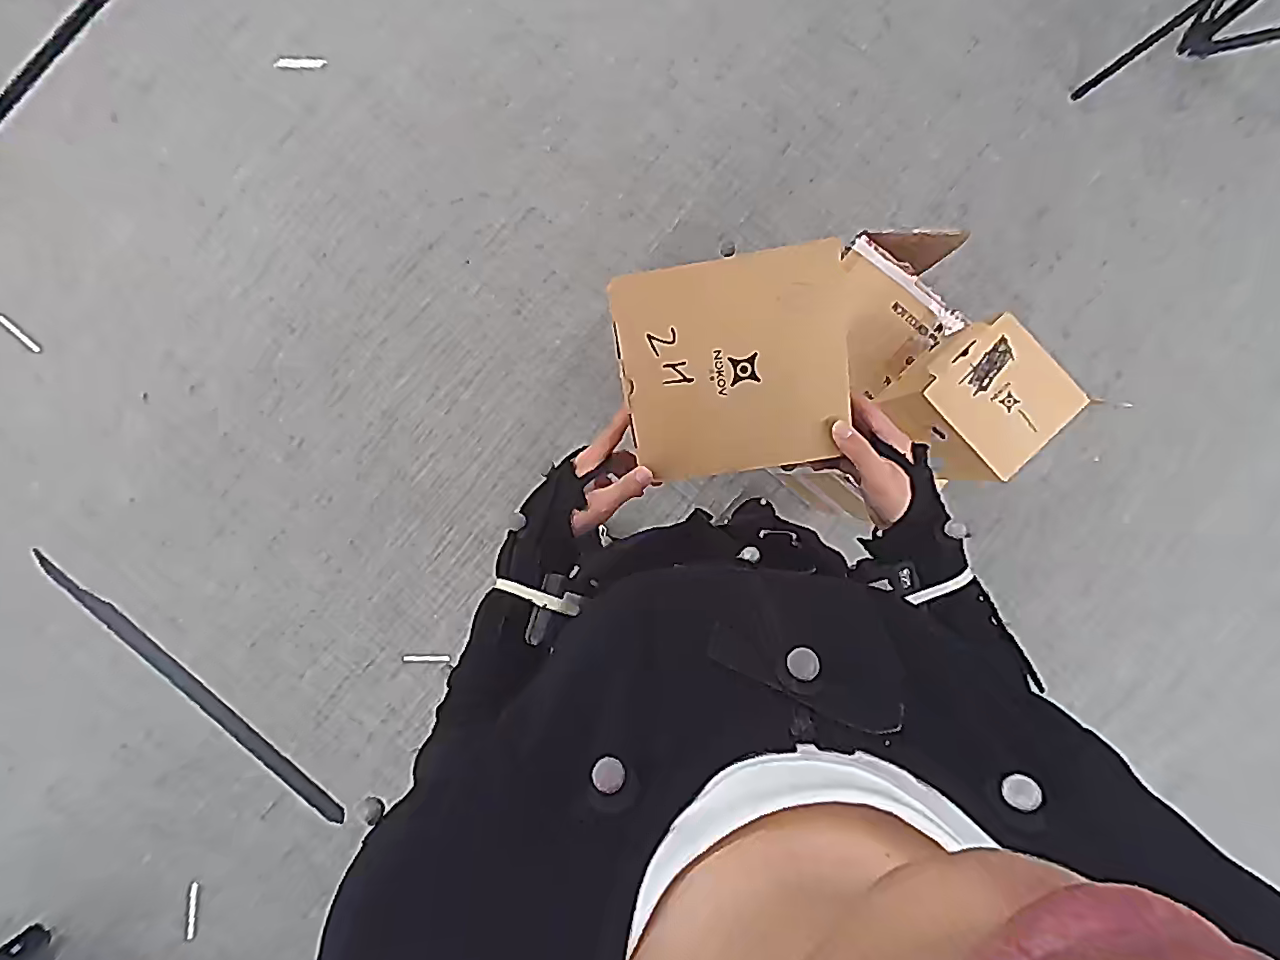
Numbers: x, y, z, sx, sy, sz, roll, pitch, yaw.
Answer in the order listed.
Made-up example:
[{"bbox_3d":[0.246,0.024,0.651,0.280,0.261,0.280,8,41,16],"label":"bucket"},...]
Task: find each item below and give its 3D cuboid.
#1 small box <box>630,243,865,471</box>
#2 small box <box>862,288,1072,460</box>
[{"bbox_3d":[0.088,-0.110,0.495,0.179,0.176,0.168,-4,104,5],"label":"small box"},{"bbox_3d":[0.462,-0.143,0.803,0.179,0.176,0.168,43,93,-1],"label":"small box"}]
